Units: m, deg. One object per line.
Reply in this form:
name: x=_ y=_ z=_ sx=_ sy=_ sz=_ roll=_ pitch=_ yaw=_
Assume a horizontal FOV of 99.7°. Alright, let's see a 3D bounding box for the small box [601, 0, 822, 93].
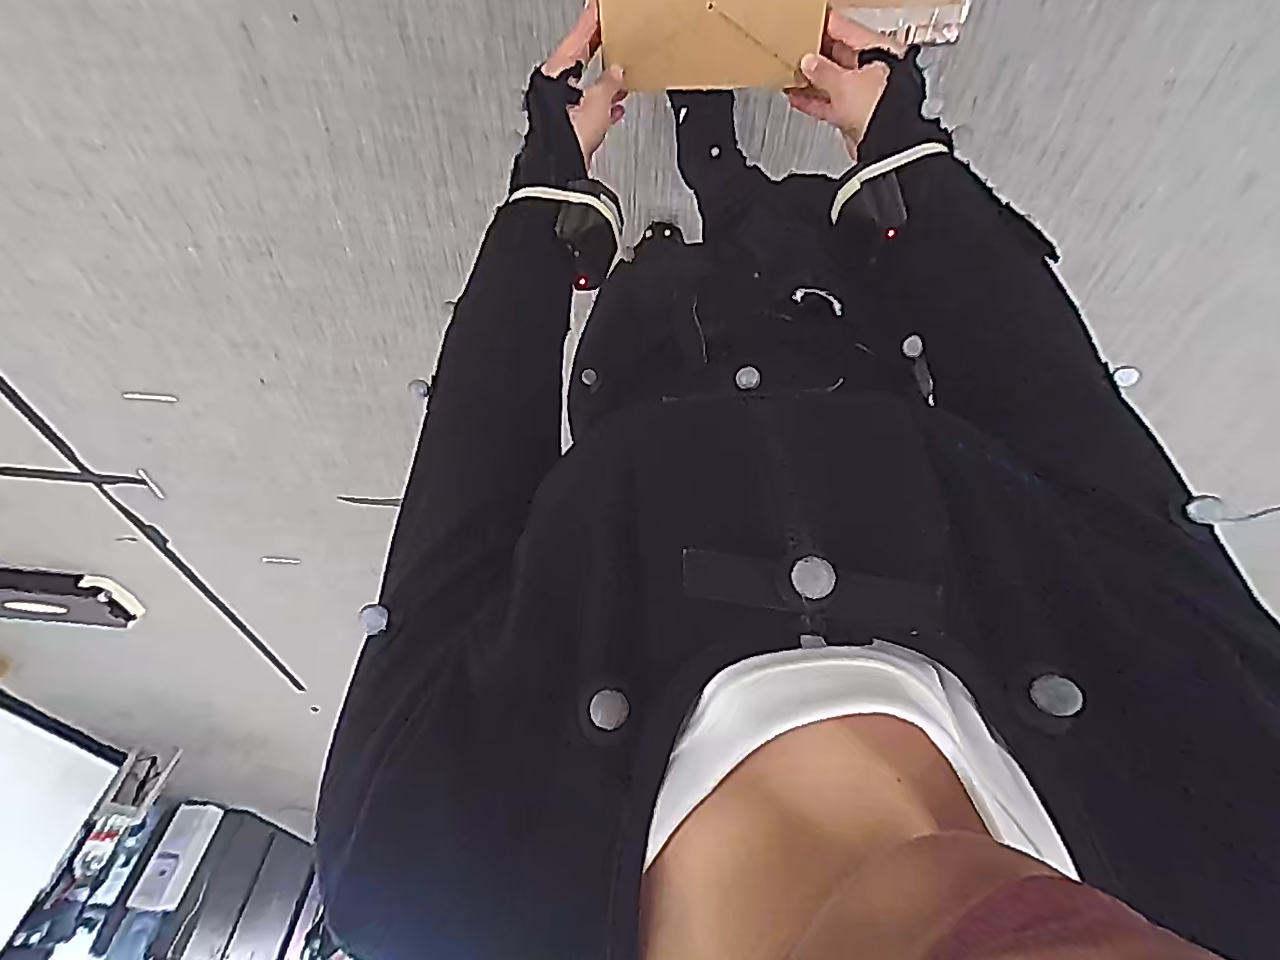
small box: x=0.056 y=-0.443 z=0.460 sx=0.179 sy=0.176 sz=0.168 roll=2 pitch=133 yaw=3
